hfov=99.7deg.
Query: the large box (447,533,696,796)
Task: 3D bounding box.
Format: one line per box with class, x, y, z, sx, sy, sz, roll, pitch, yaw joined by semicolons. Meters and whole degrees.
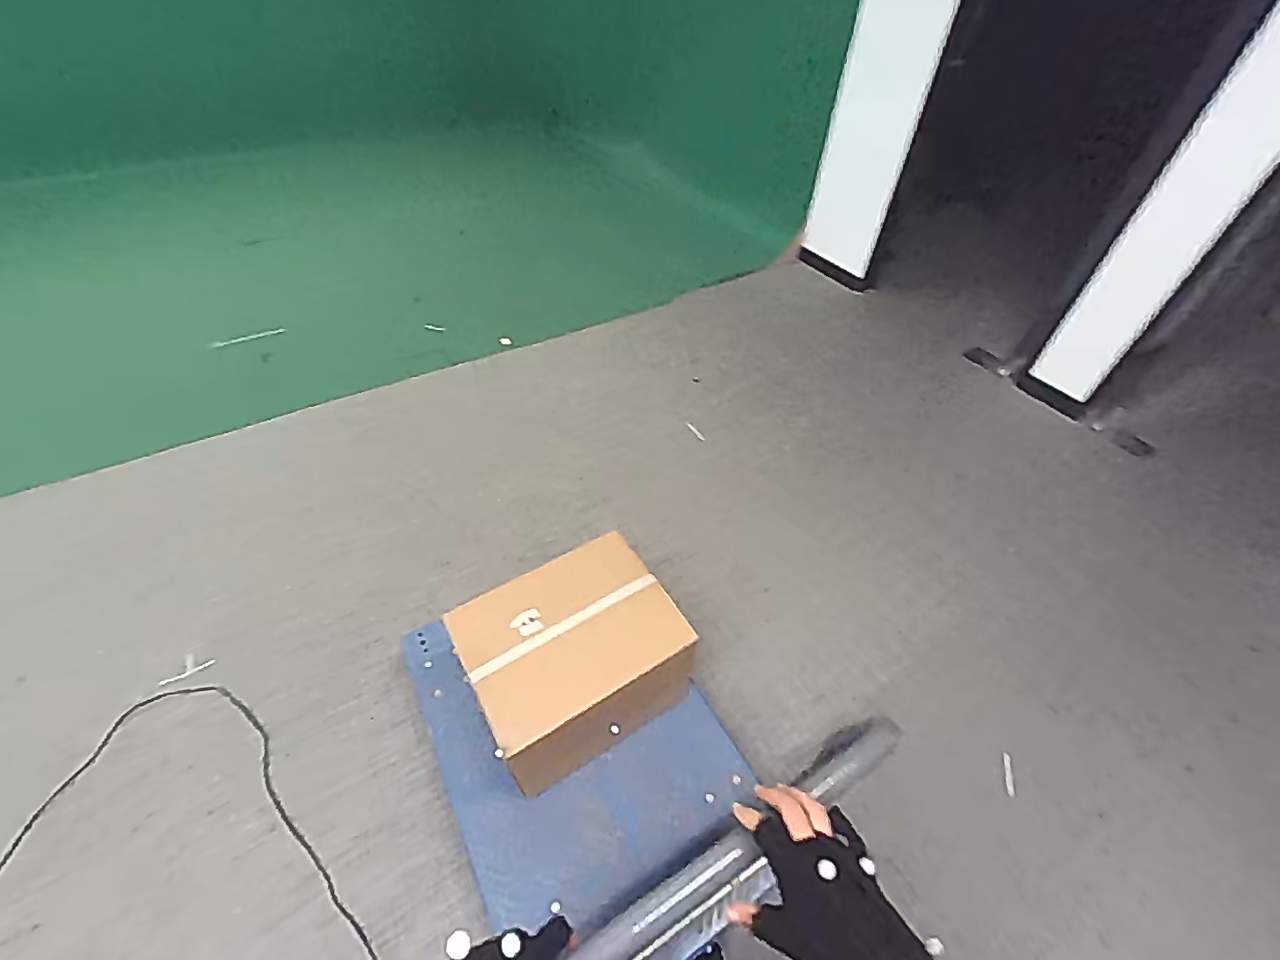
large box;-0.136;0.391;1.168;0.408;0.320;0.320;-25;52;-21
